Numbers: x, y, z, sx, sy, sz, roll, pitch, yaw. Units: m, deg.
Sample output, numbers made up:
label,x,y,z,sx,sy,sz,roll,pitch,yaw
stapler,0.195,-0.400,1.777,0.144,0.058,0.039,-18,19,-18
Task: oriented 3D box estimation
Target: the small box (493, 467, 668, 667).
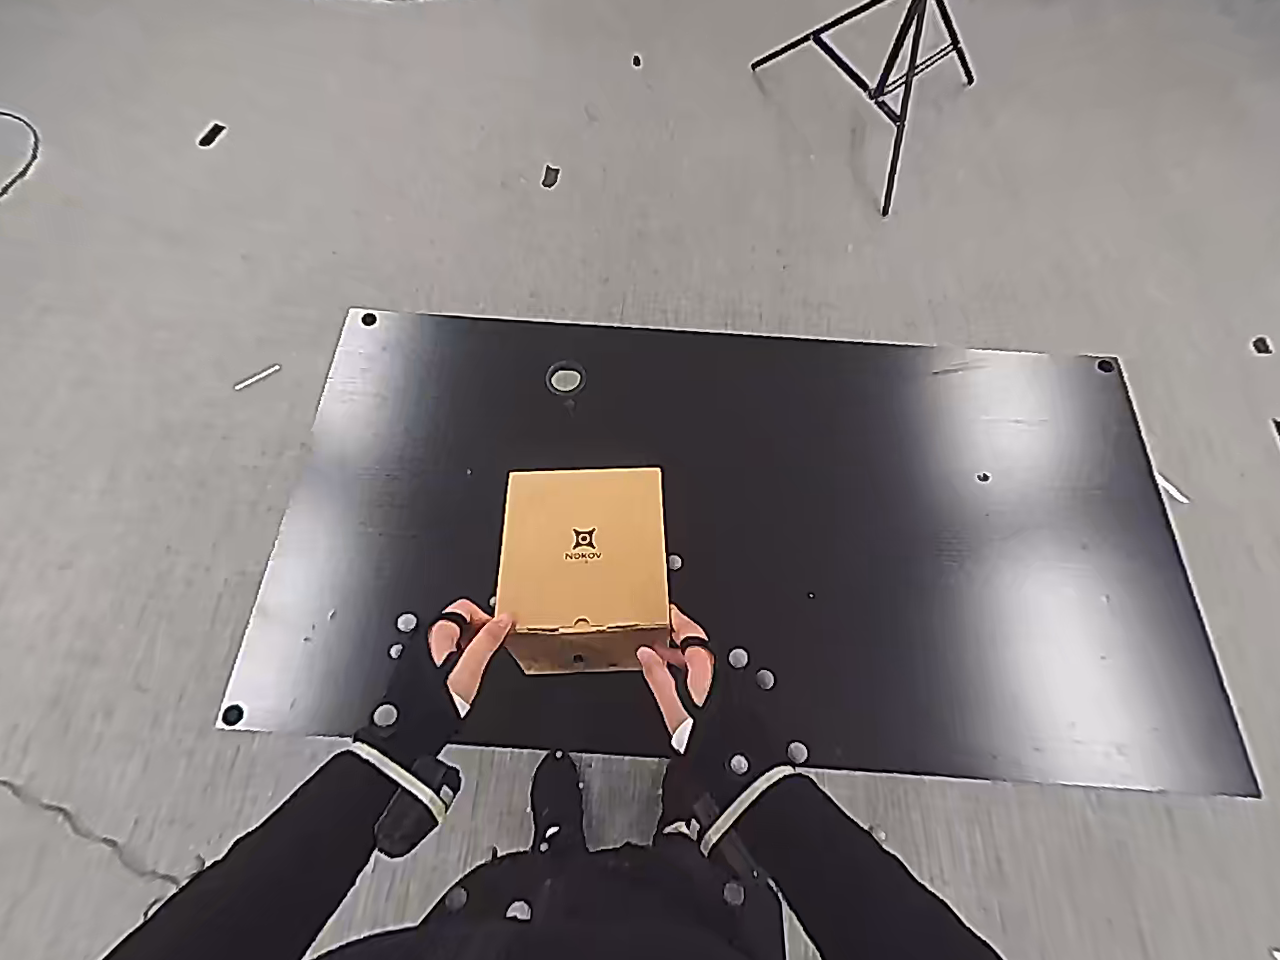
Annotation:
label,x,y,z,sx,sy,sz,roll,pitch,yaw
small box,-0.058,0.102,0.613,0.168,0.176,0.179,-2,59,-1
